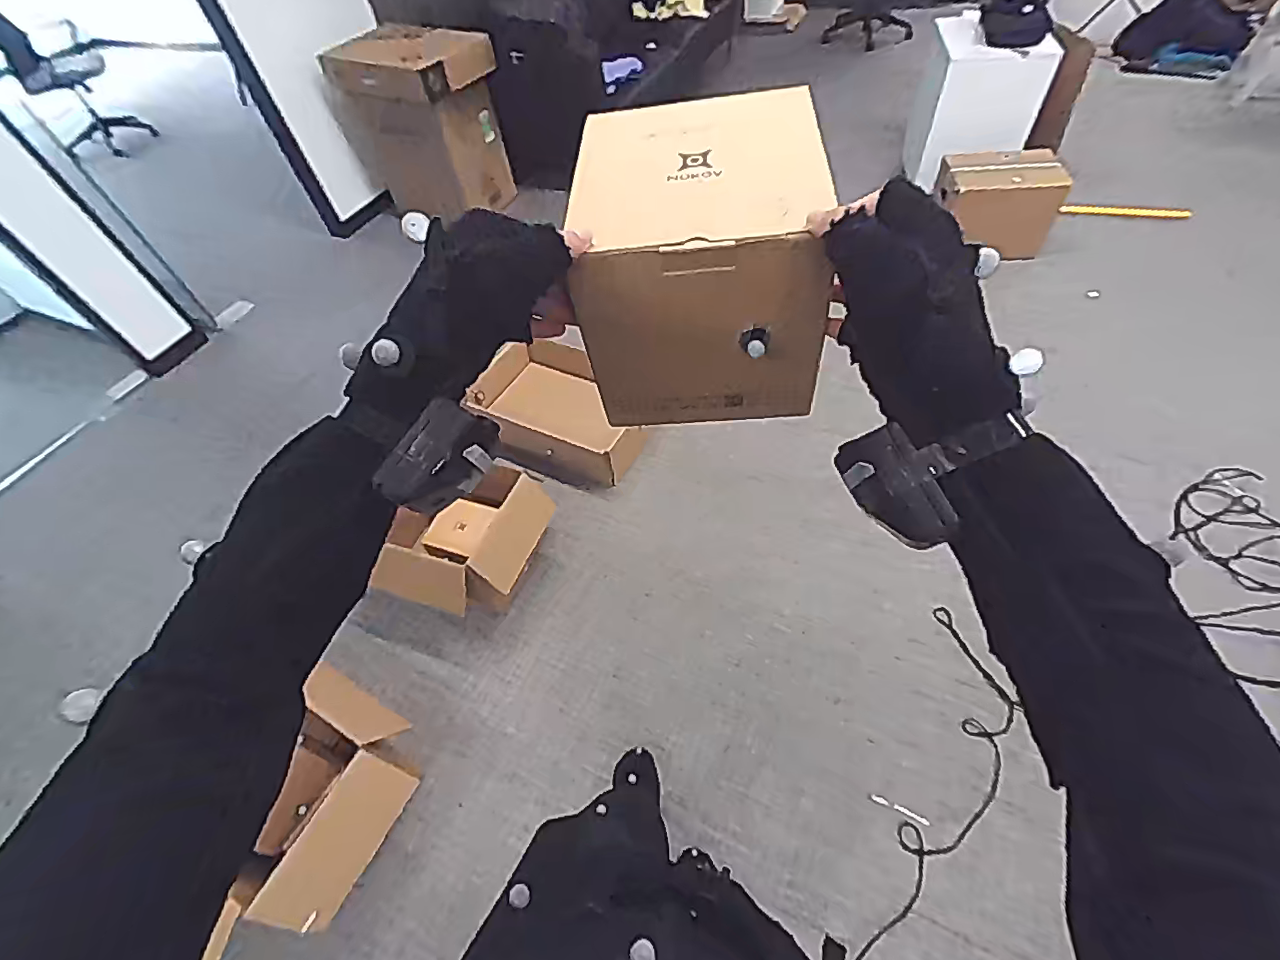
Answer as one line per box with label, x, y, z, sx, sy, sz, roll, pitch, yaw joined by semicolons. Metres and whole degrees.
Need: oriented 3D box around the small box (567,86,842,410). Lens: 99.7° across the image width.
small box;0.052;-0.167;0.426;0.168;0.176;0.179;-1;58;8
